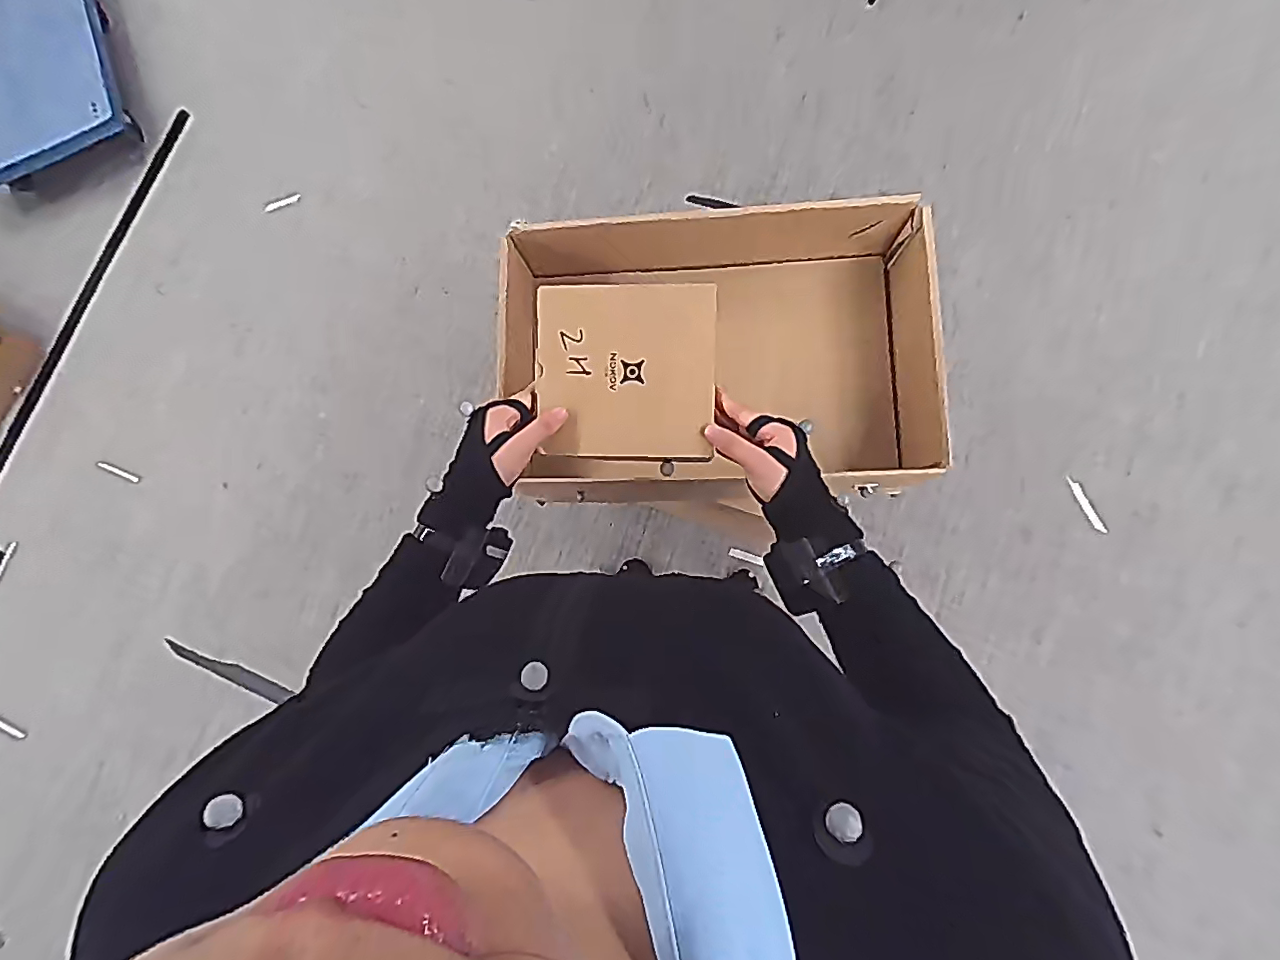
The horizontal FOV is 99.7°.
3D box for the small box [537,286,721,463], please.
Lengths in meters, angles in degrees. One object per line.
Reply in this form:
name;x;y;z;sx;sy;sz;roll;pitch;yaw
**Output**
small box;-0.005;-0.105;0.596;0.179;0.176;0.168;1;90;6
